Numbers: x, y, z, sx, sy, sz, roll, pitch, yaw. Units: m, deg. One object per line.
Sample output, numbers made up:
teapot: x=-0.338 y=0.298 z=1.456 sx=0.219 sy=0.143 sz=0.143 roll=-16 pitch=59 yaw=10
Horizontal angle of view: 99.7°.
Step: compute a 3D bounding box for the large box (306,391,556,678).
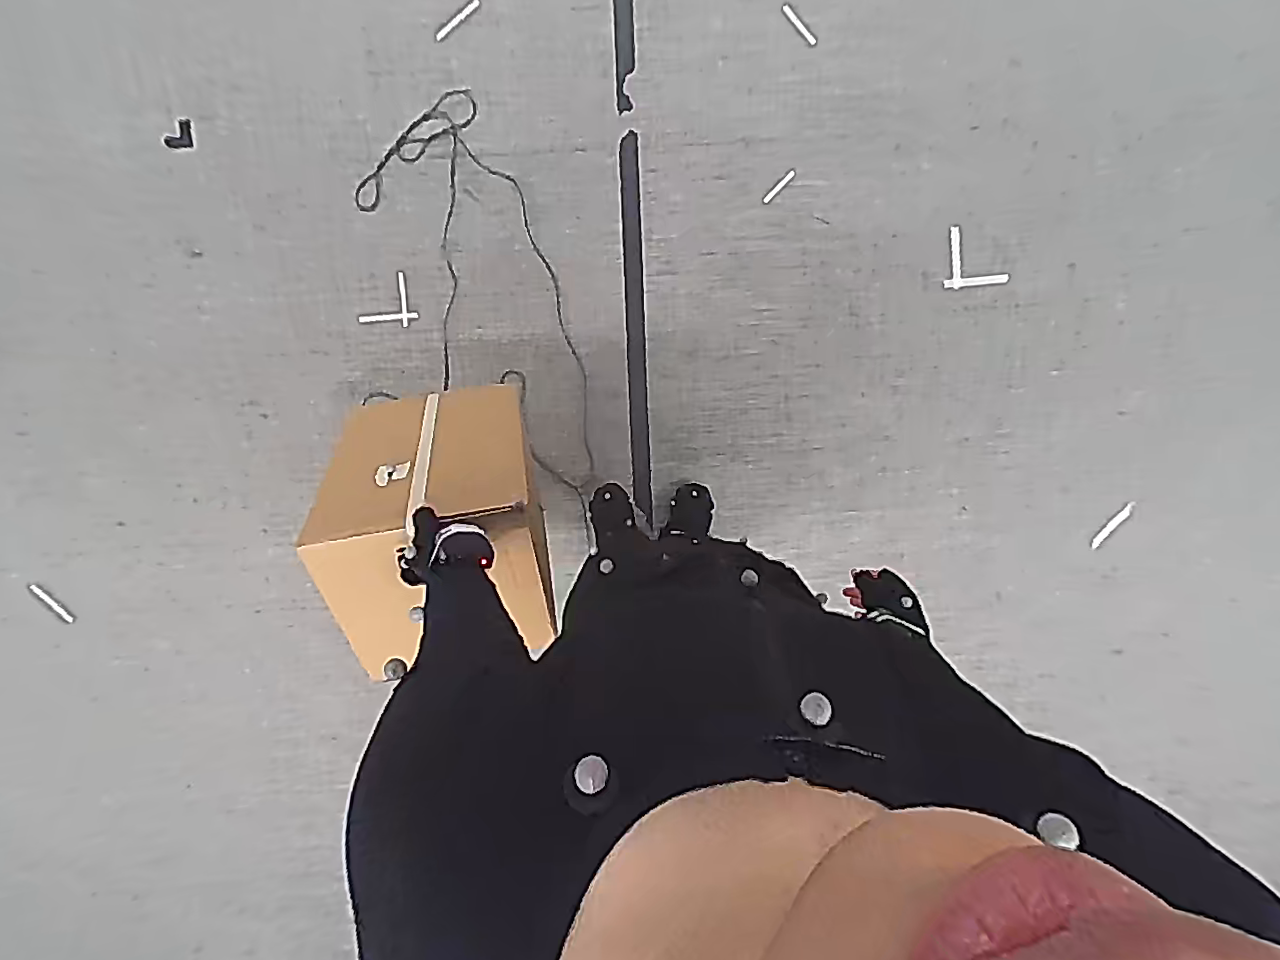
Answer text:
large box: x=-0.348 y=0.078 z=0.995 sx=0.320 sy=0.408 sz=0.320 roll=-12 pitch=127 yaw=-9
